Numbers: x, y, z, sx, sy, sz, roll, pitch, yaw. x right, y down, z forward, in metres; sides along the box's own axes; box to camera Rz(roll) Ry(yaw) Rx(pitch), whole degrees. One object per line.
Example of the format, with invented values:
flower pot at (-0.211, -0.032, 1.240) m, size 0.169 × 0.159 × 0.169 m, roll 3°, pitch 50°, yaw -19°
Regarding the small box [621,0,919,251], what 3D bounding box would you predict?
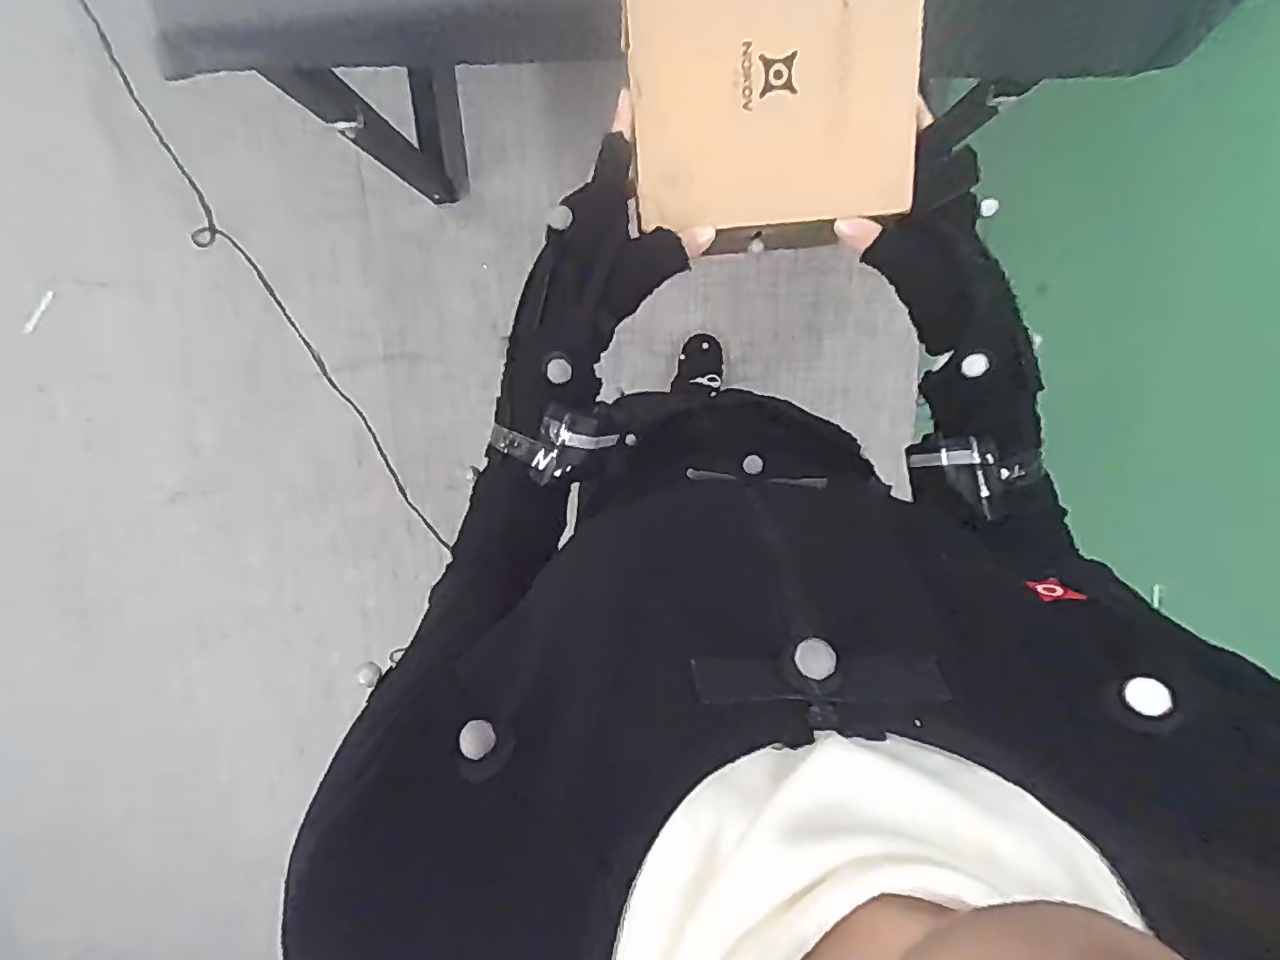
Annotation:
small box at (0.082, -0.273, 0.406) m, size 0.179 × 0.176 × 0.168 m, roll -5°, pitch 108°, yaw 2°
